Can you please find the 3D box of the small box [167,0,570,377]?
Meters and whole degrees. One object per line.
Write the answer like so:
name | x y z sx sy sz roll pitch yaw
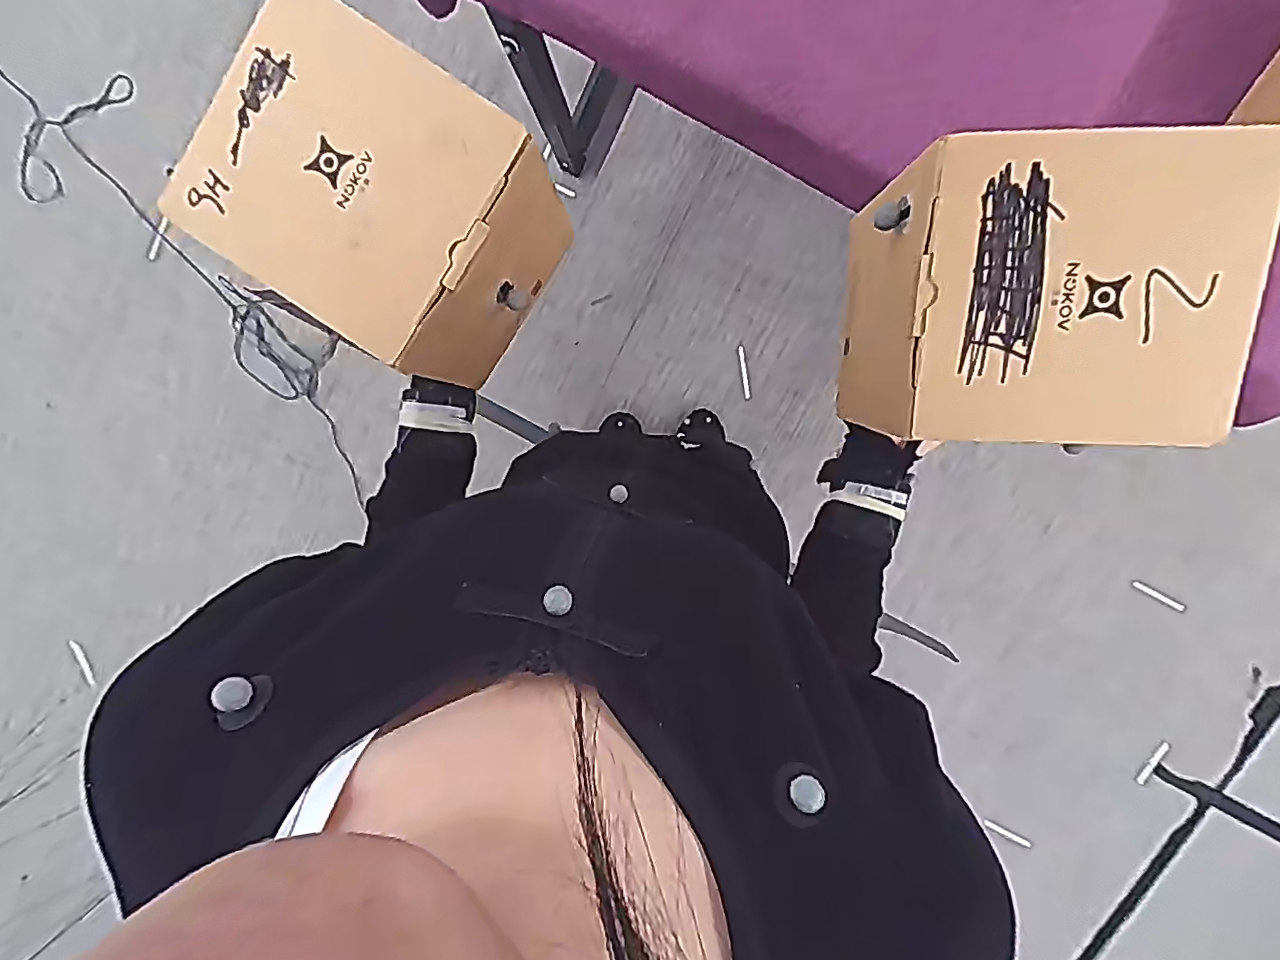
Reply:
small box | -0.170 -0.191 0.403 0.179 0.176 0.168 34 95 -2

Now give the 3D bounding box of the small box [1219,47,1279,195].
small box | 0.797 -0.423 0.573 0.168 0.176 0.179 33 98 -1
